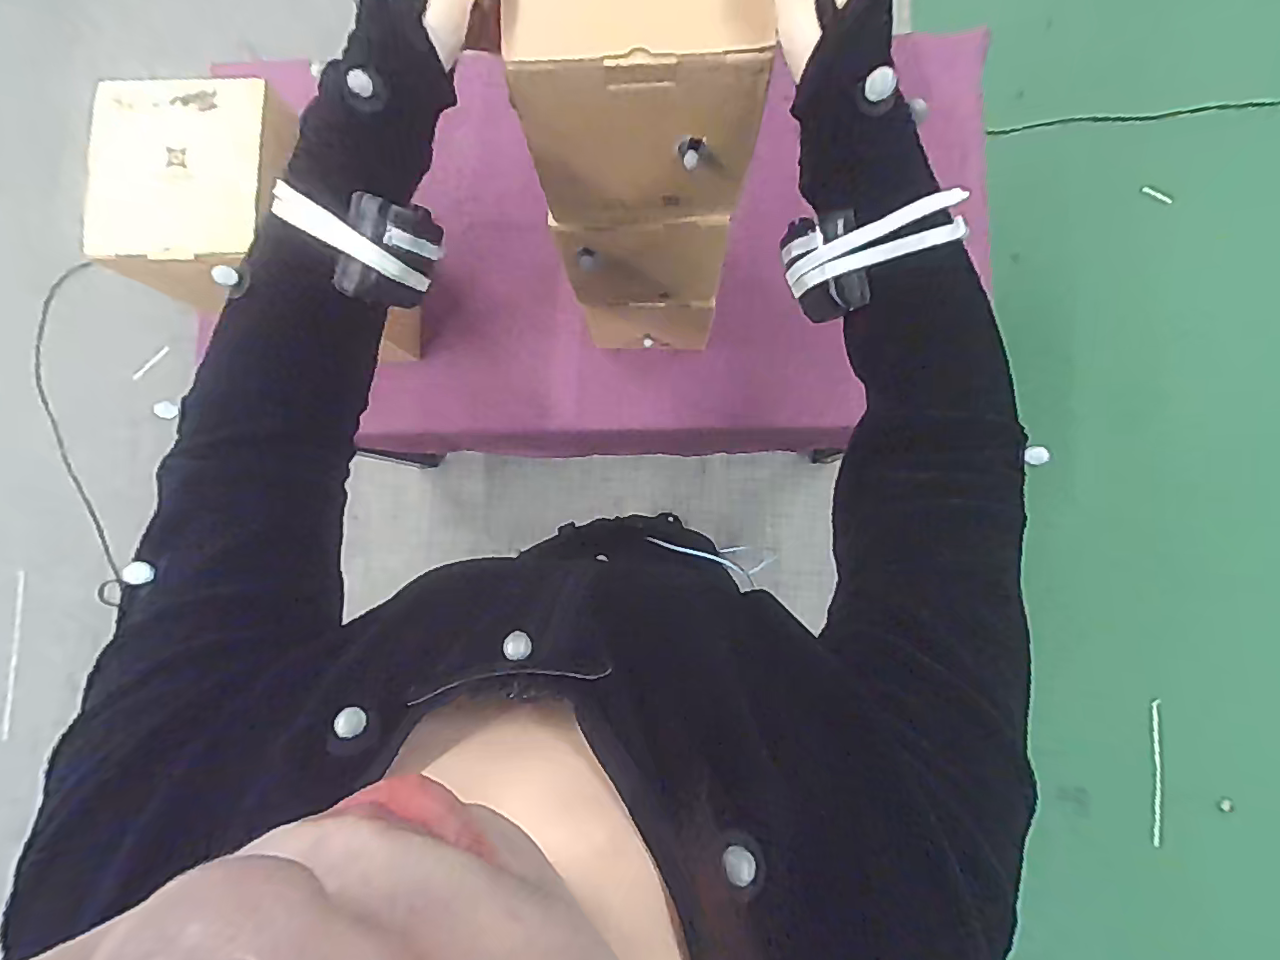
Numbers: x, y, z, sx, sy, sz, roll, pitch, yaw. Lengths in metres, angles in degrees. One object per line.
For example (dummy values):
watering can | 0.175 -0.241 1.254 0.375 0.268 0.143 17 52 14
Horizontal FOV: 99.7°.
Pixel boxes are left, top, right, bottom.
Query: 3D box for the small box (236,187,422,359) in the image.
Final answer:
small box | -0.417 -0.272 0.751 0.168 0.176 0.179 -1 85 2

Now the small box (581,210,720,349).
small box | 0.017 -0.291 0.734 0.168 0.176 0.179 2 86 3

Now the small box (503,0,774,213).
small box | 0.001 -0.323 0.408 0.168 0.176 0.179 -1 85 2

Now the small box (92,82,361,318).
small box | -0.427 -0.285 0.587 0.168 0.176 0.179 1 87 1
